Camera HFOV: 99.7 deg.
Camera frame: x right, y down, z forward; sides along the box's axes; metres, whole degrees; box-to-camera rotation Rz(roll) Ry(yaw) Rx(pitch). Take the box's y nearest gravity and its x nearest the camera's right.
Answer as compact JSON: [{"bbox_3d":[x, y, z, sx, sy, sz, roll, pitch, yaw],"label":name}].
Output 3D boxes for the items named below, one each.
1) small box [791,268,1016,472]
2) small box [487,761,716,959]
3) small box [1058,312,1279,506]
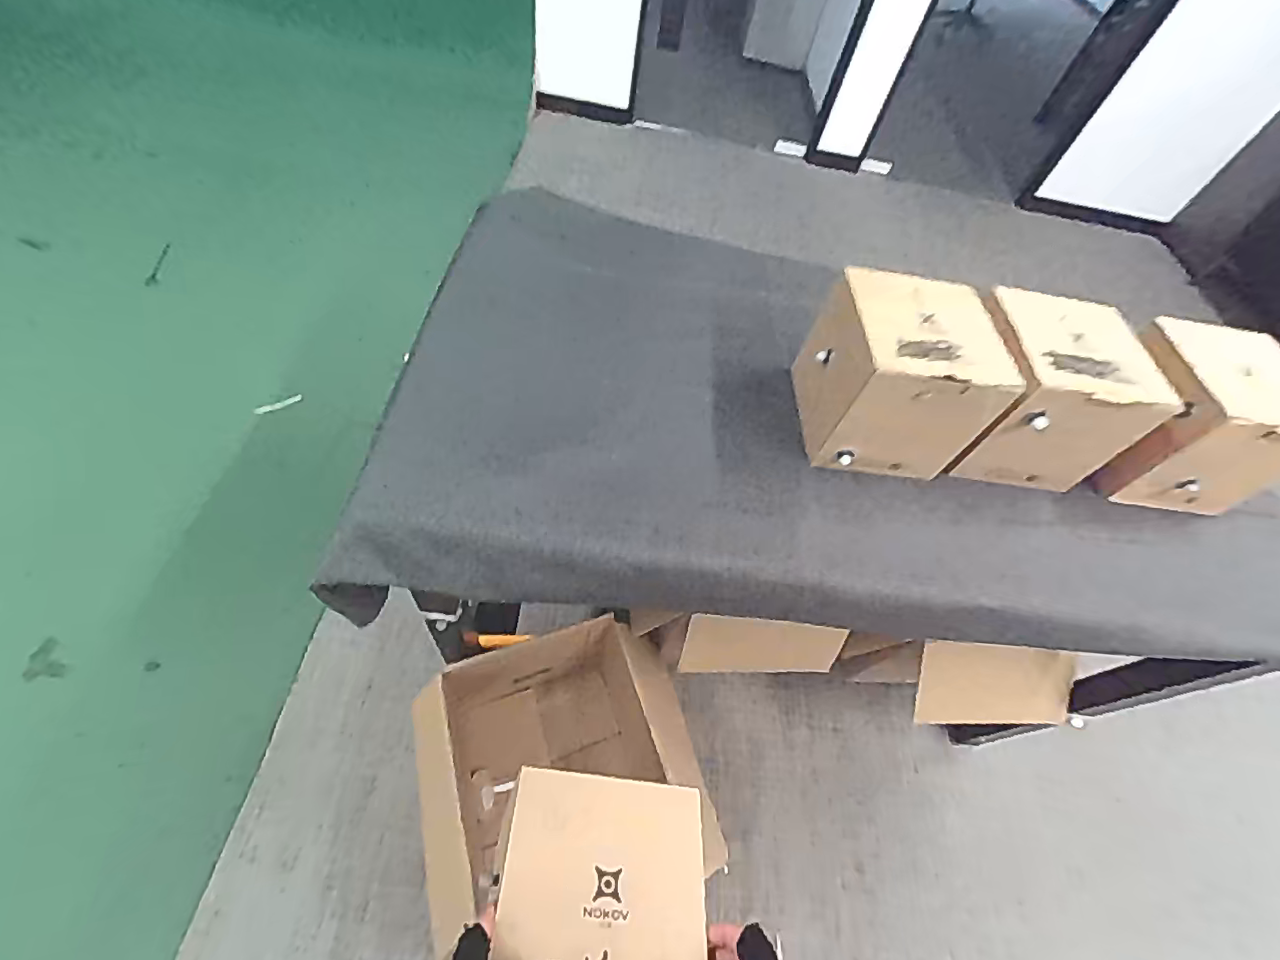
[{"bbox_3d":[0.303,-0.128,0.666,0.168,0.176,0.179,6,55,-7],"label":"small box"},{"bbox_3d":[-0.040,0.379,0.477,0.168,0.176,0.179,11,43,-8],"label":"small box"},{"bbox_3d":[0.710,-0.089,0.714,0.168,0.176,0.179,6,55,-6],"label":"small box"}]
